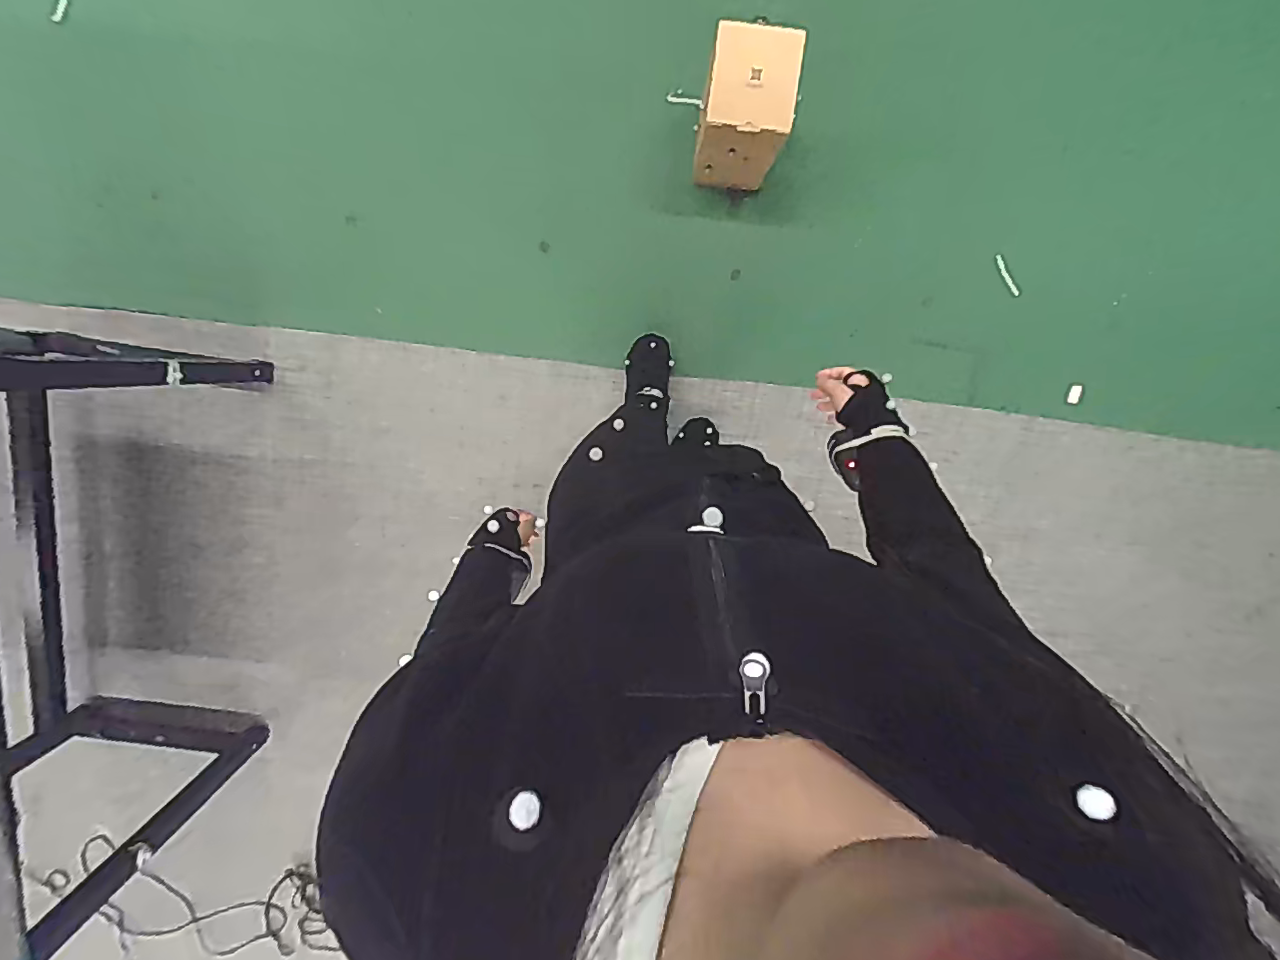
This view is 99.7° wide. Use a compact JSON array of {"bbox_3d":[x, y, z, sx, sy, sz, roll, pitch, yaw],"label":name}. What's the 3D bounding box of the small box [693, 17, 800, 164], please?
[{"bbox_3d":[0.205,-0.770,1.088,0.168,0.176,0.179,6,101,-2],"label":"small box"}]
